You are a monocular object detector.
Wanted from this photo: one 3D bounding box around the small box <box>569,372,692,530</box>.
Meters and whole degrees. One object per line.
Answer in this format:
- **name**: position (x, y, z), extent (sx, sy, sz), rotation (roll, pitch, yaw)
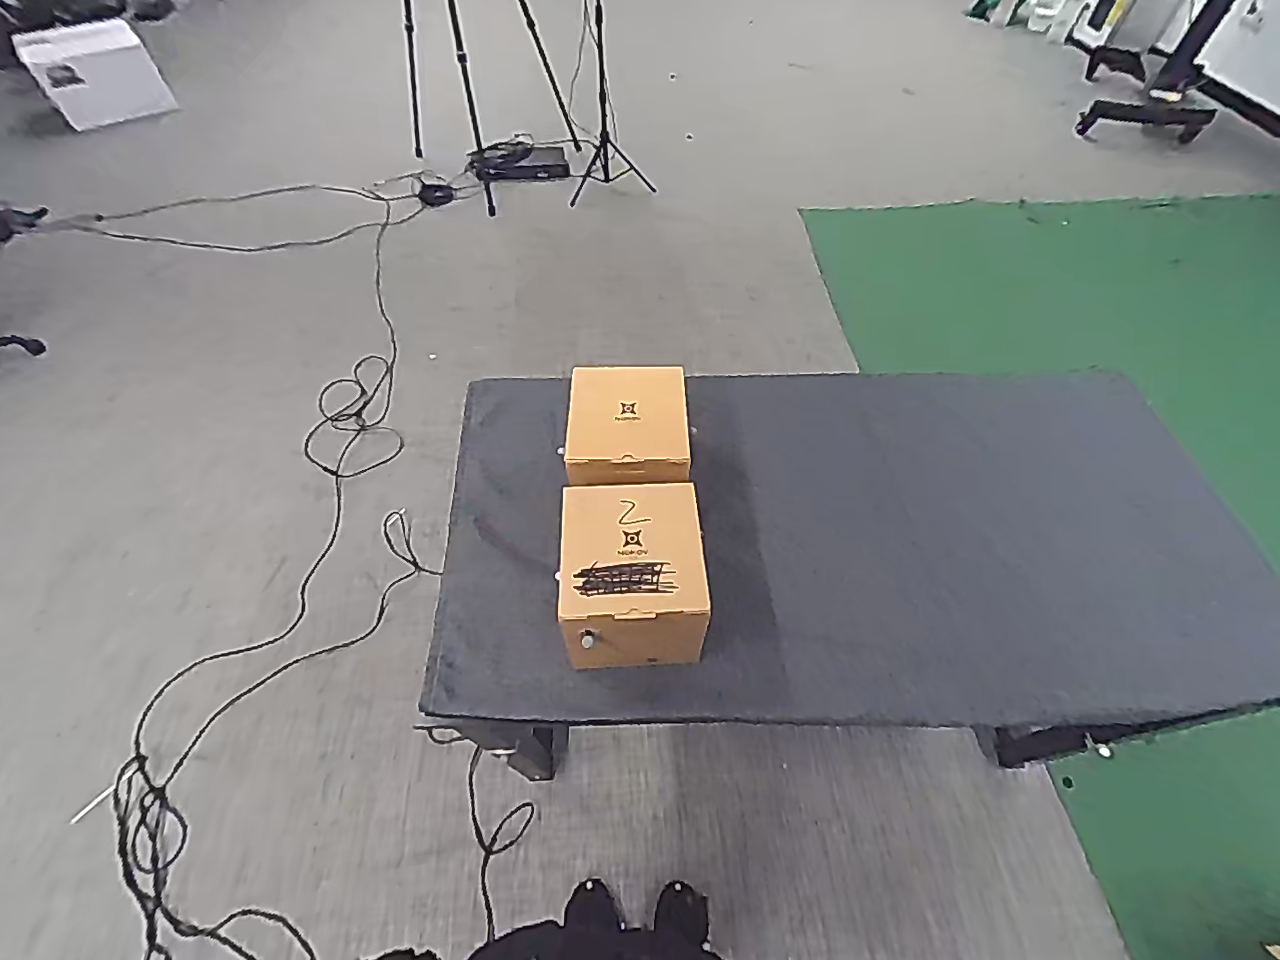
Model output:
- **small box**: position (-0.014, -0.042, 0.816), extent (0.168, 0.176, 0.179), rotation (-1, 55, -1)
